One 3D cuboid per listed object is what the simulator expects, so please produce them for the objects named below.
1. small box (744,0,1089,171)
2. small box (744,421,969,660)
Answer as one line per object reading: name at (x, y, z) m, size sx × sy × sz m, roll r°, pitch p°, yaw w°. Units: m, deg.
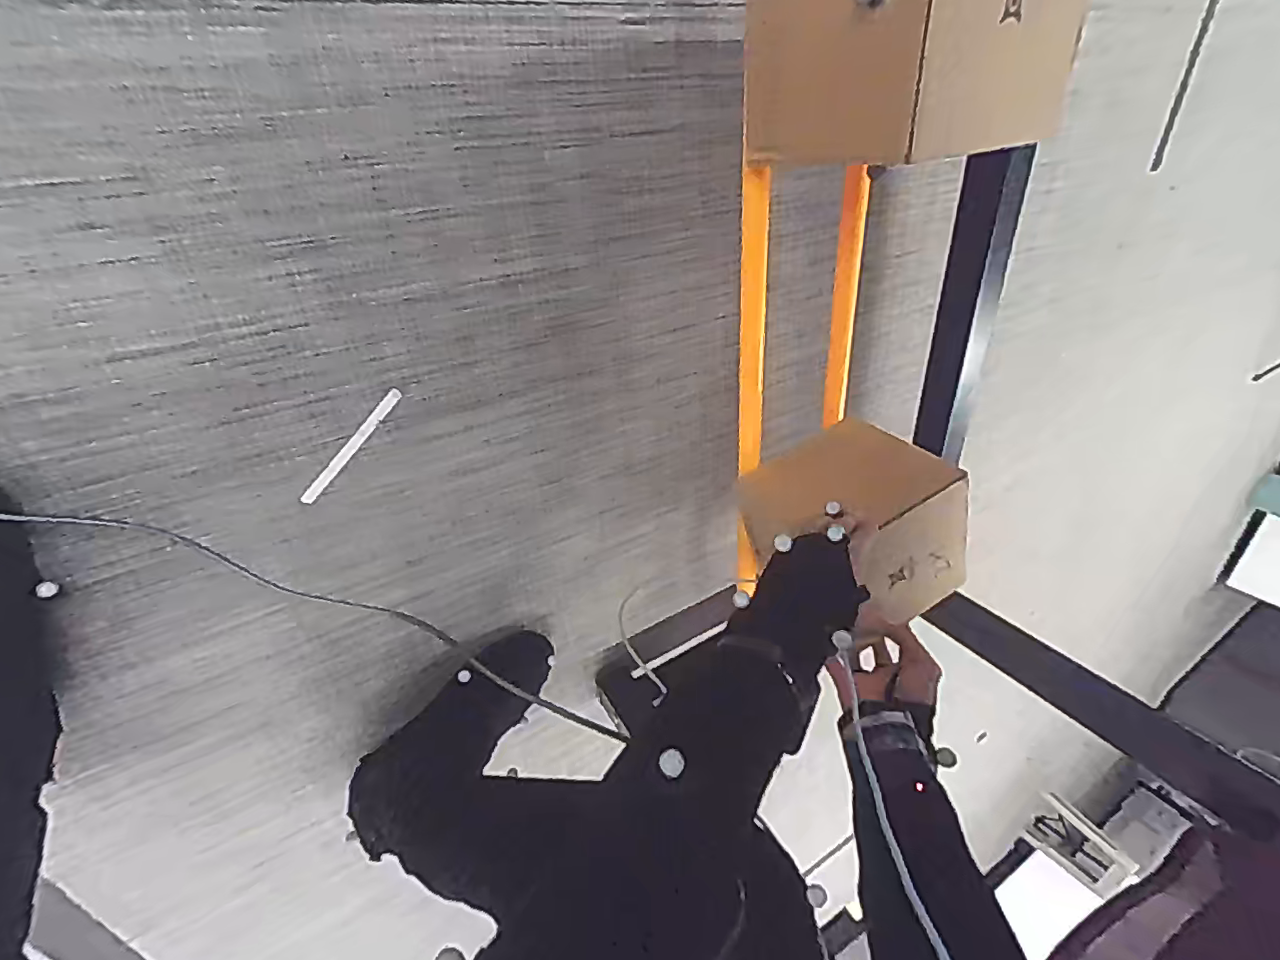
small box at (0.191, -0.335, 0.397) m, size 0.168 × 0.176 × 0.179 m, roll -22°, pitch 124°, yaw -22°
small box at (0.237, 0.059, 0.618) m, size 0.179 × 0.176 × 0.168 m, roll -29°, pitch 125°, yaw -9°
